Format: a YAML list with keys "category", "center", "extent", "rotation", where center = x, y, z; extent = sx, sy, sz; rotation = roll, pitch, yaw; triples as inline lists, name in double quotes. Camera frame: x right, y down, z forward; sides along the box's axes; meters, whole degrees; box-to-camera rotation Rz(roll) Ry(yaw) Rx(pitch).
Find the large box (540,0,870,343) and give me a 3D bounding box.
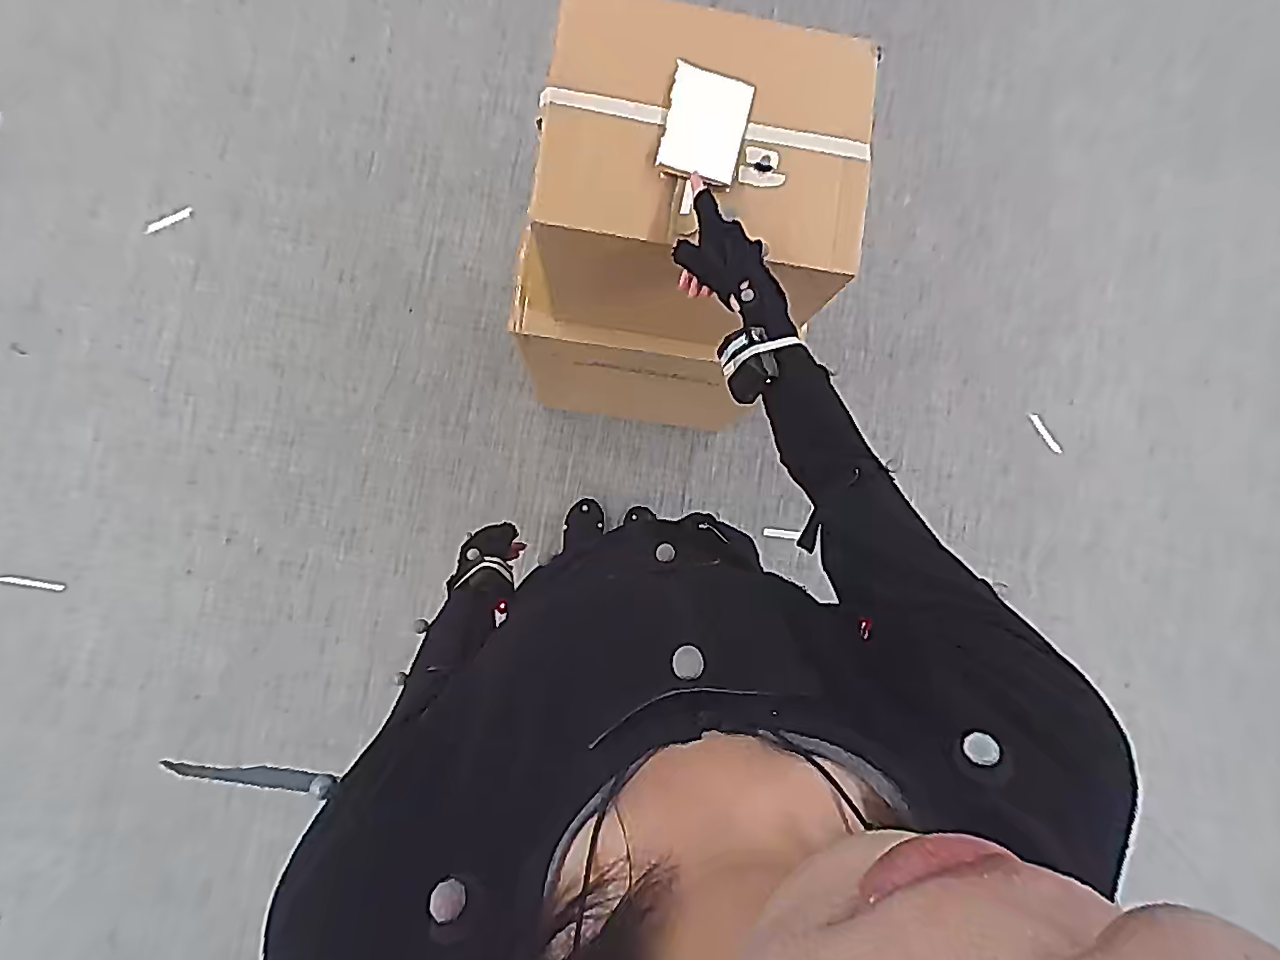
- category: "large box"
  center: [0.074, -0.428, 0.823]
  extent: [0.408, 0.320, 0.320]
  rotation: [7, 85, -5]
